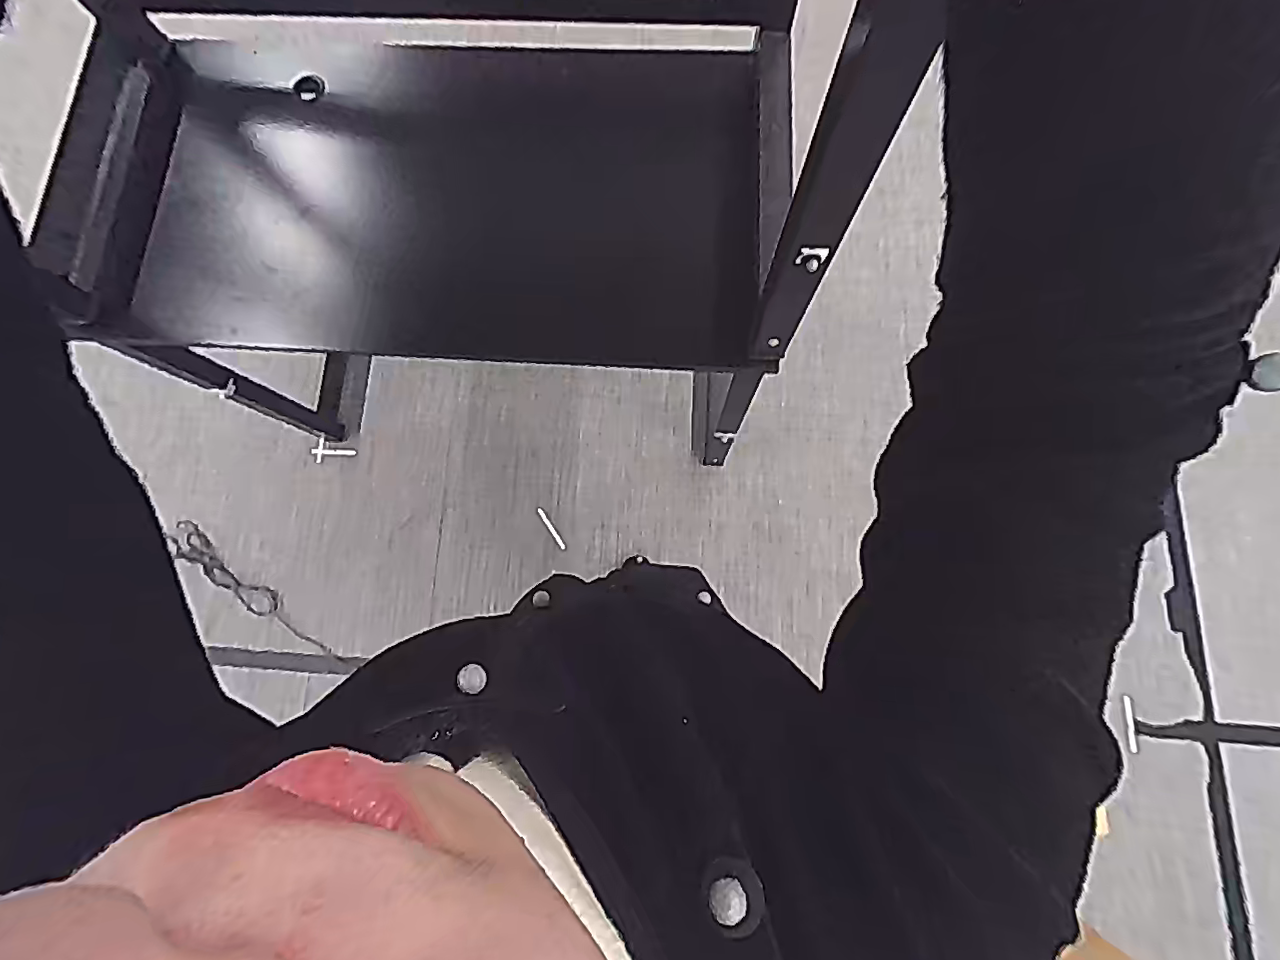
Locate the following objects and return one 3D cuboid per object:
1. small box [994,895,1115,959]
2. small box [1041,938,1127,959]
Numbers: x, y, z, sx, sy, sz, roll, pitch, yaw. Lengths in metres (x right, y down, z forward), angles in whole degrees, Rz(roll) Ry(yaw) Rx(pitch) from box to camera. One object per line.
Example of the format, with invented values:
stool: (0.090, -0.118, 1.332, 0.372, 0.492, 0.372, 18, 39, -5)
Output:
small box: (0.935, 1.093, 1.225, 0.168, 0.176, 0.179, 5, 79, 3)
small box: (0.932, 1.061, 1.065, 0.168, 0.176, 0.179, 4, 80, 2)
